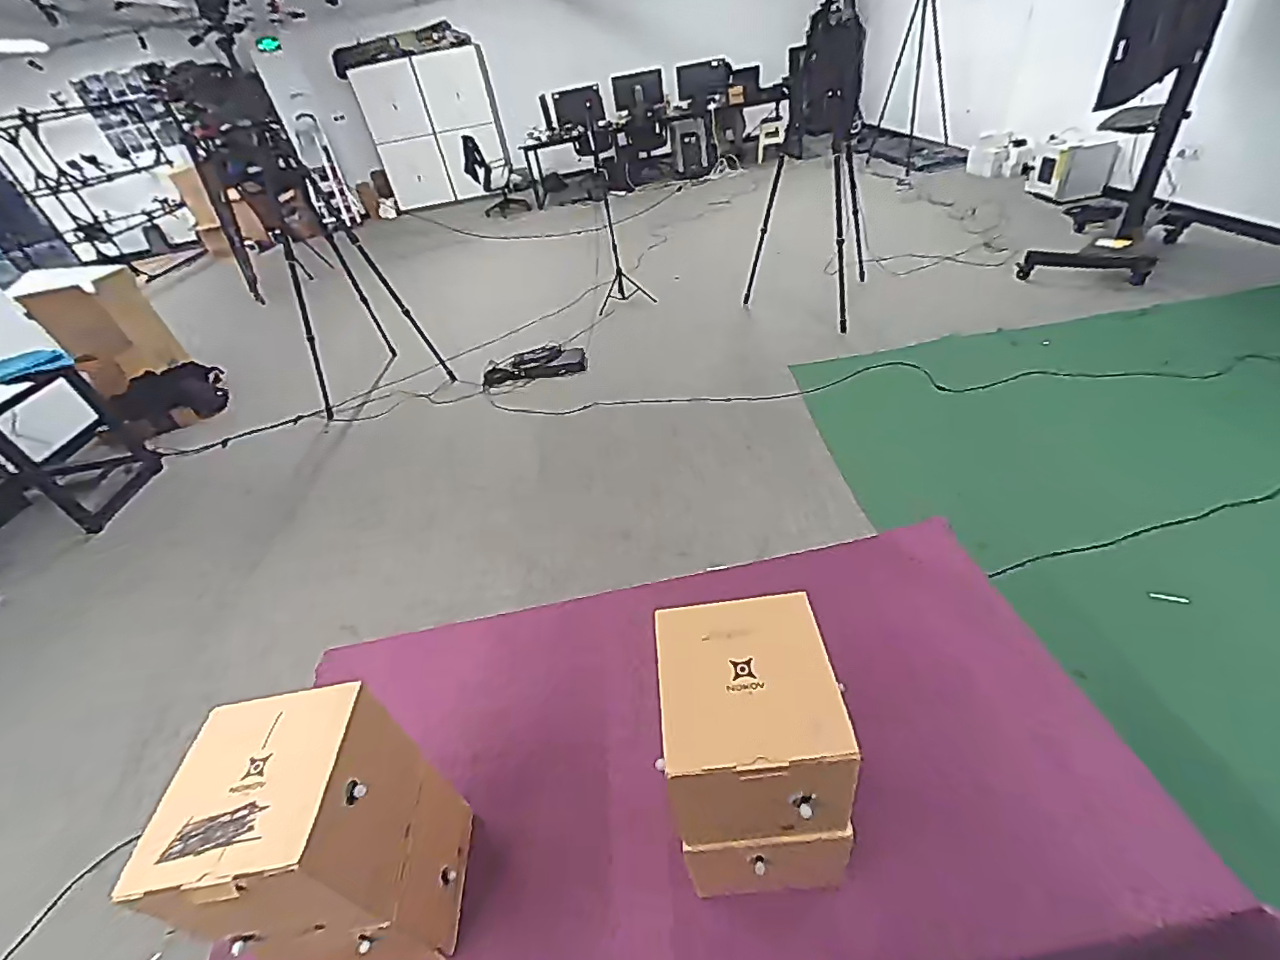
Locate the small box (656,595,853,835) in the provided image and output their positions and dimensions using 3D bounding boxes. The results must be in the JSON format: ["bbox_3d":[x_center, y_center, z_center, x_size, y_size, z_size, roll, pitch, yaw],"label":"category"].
[{"bbox_3d":[0.112,0.250,0.568,0.168,0.176,0.179,-8,38,5],"label":"small box"}]

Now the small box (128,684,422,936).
[{"bbox_3d":[-0.355,0.353,0.576,0.168,0.176,0.179,-11,37,1],"label":"small box"}]

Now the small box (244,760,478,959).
[{"bbox_3d":[-0.325,0.481,0.673,0.179,0.176,0.168,-11,38,2],"label":"small box"}]

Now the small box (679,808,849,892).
[{"bbox_3d":[0.142,0.380,0.662,0.179,0.176,0.168,-9,39,6],"label":"small box"}]
